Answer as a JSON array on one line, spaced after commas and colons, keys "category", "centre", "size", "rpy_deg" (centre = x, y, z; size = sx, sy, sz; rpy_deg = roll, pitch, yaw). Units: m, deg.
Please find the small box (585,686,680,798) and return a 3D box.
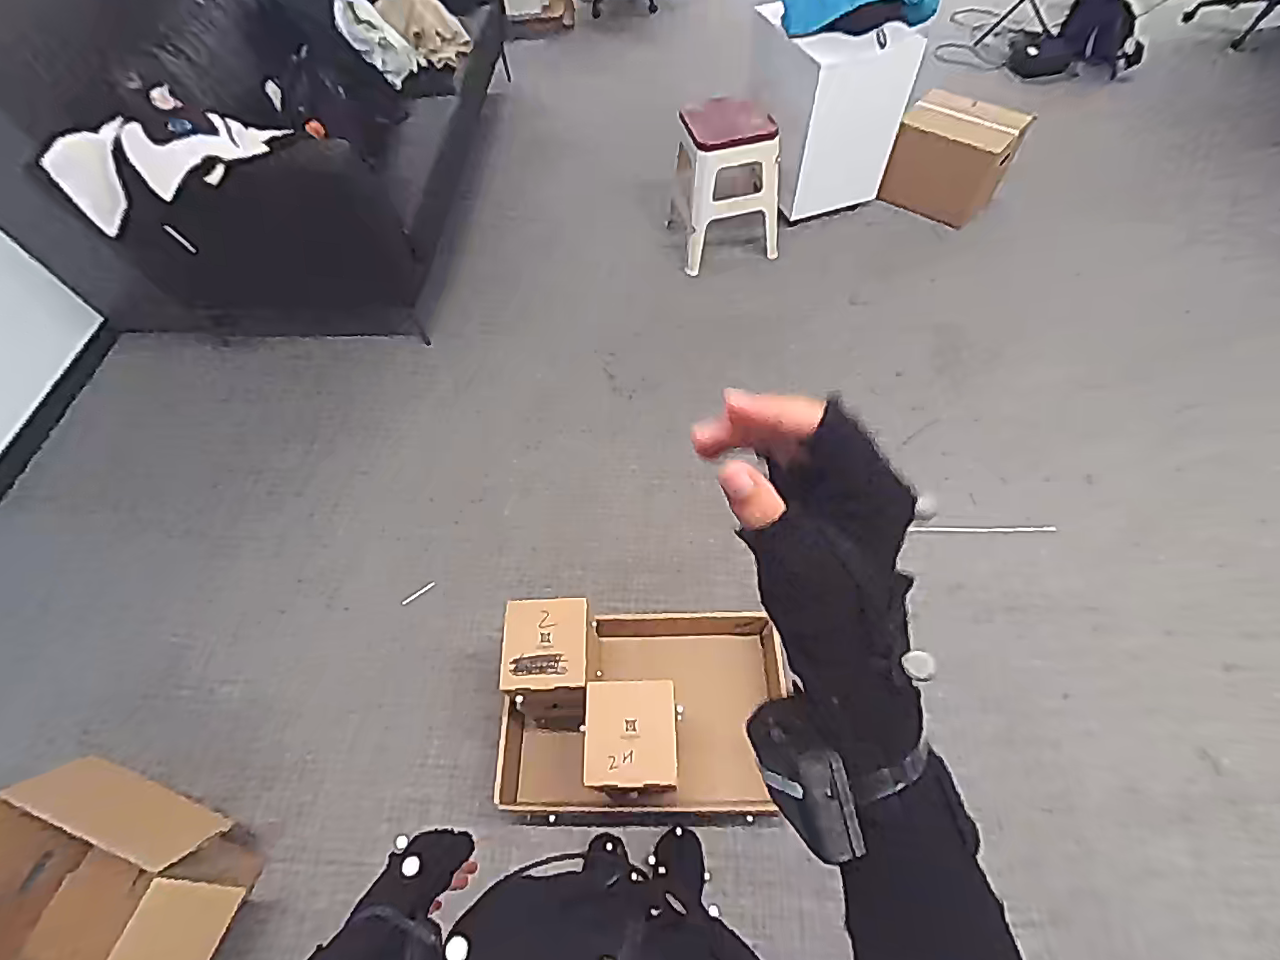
[{"category": "small box", "centre": [-0.011, 0.502, 1.032], "size": [0.168, 0.176, 0.179], "rpy_deg": [-2, 58, 2]}]
